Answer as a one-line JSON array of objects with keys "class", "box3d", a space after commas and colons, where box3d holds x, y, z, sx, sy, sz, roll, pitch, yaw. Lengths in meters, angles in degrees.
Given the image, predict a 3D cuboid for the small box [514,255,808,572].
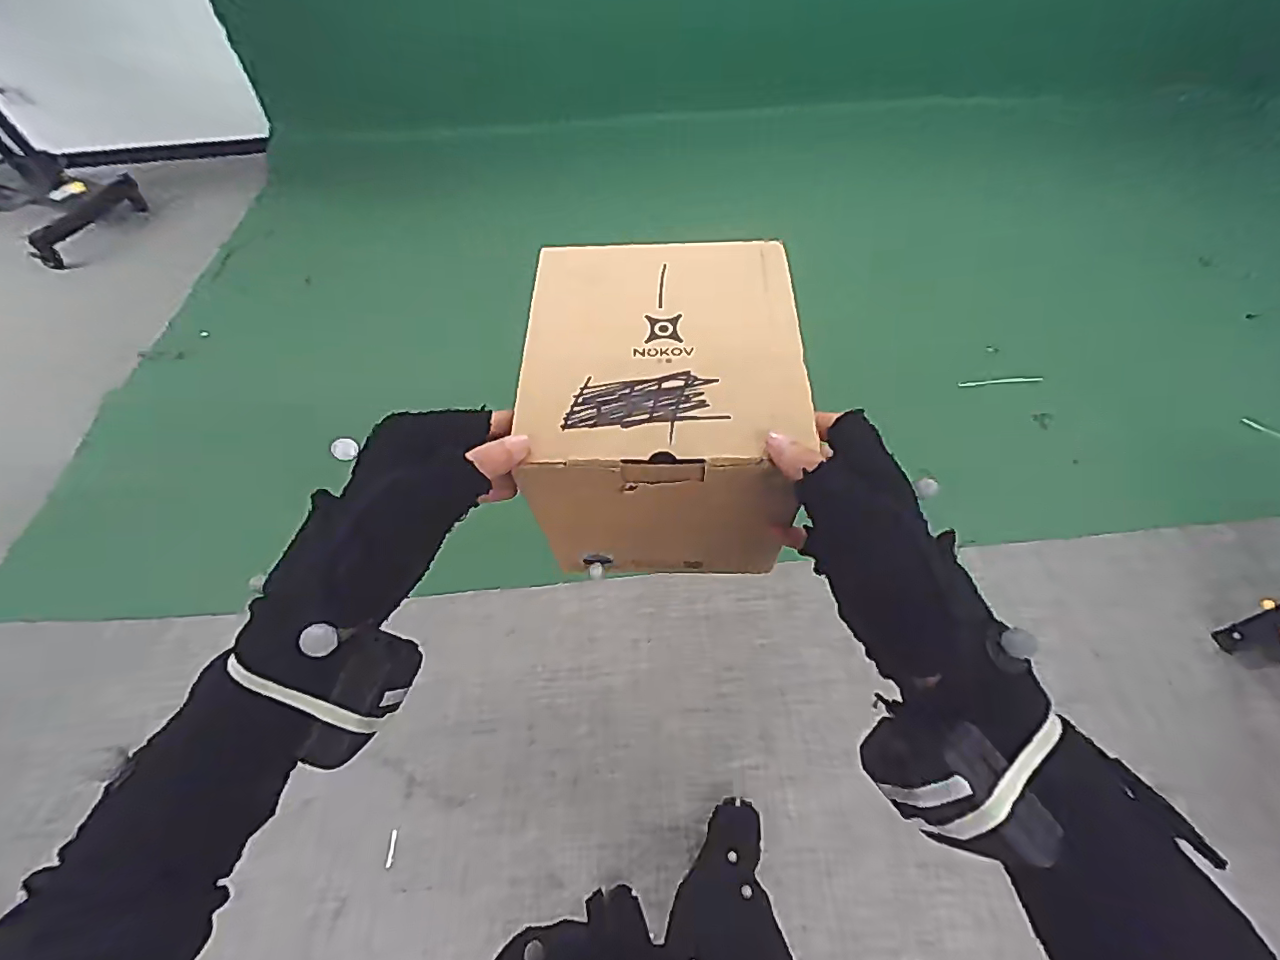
[{"class": "small box", "box3d": [0.018, -0.038, 0.403, 0.168, 0.176, 0.179, 0, 59, 3]}]
